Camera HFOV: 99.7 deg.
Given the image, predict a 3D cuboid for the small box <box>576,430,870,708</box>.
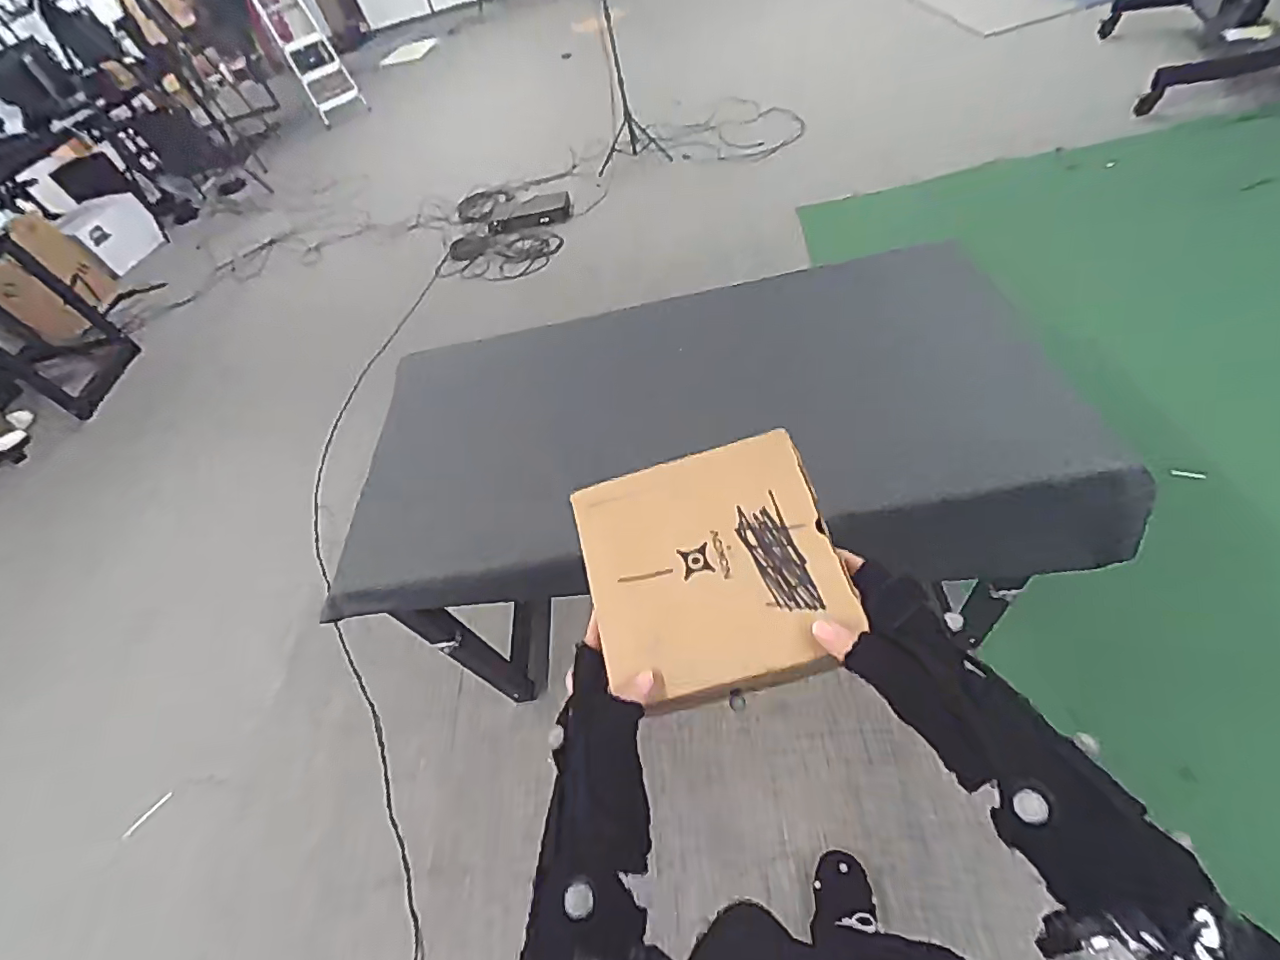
[{"bbox_3d":[0.062,0.086,0.458,0.179,0.176,0.168,-16,63,3],"label":"small box"}]
